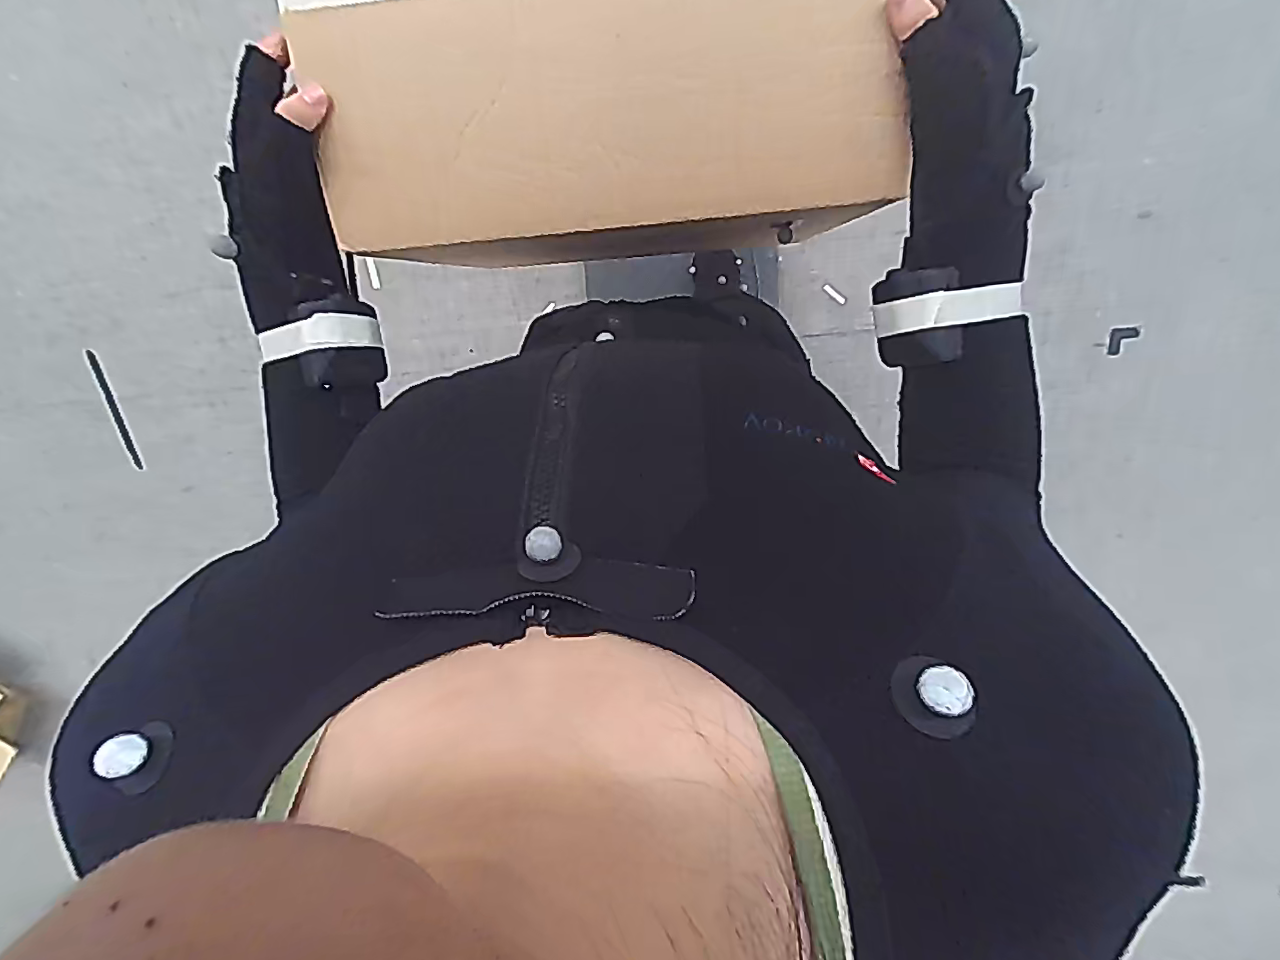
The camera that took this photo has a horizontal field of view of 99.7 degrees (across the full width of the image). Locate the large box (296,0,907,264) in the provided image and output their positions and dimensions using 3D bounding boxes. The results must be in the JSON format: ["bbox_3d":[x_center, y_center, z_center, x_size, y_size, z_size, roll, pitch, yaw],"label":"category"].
[{"bbox_3d":[-0.022,-0.379,0.482,0.408,0.320,0.320,-3,108,5],"label":"large box"}]
